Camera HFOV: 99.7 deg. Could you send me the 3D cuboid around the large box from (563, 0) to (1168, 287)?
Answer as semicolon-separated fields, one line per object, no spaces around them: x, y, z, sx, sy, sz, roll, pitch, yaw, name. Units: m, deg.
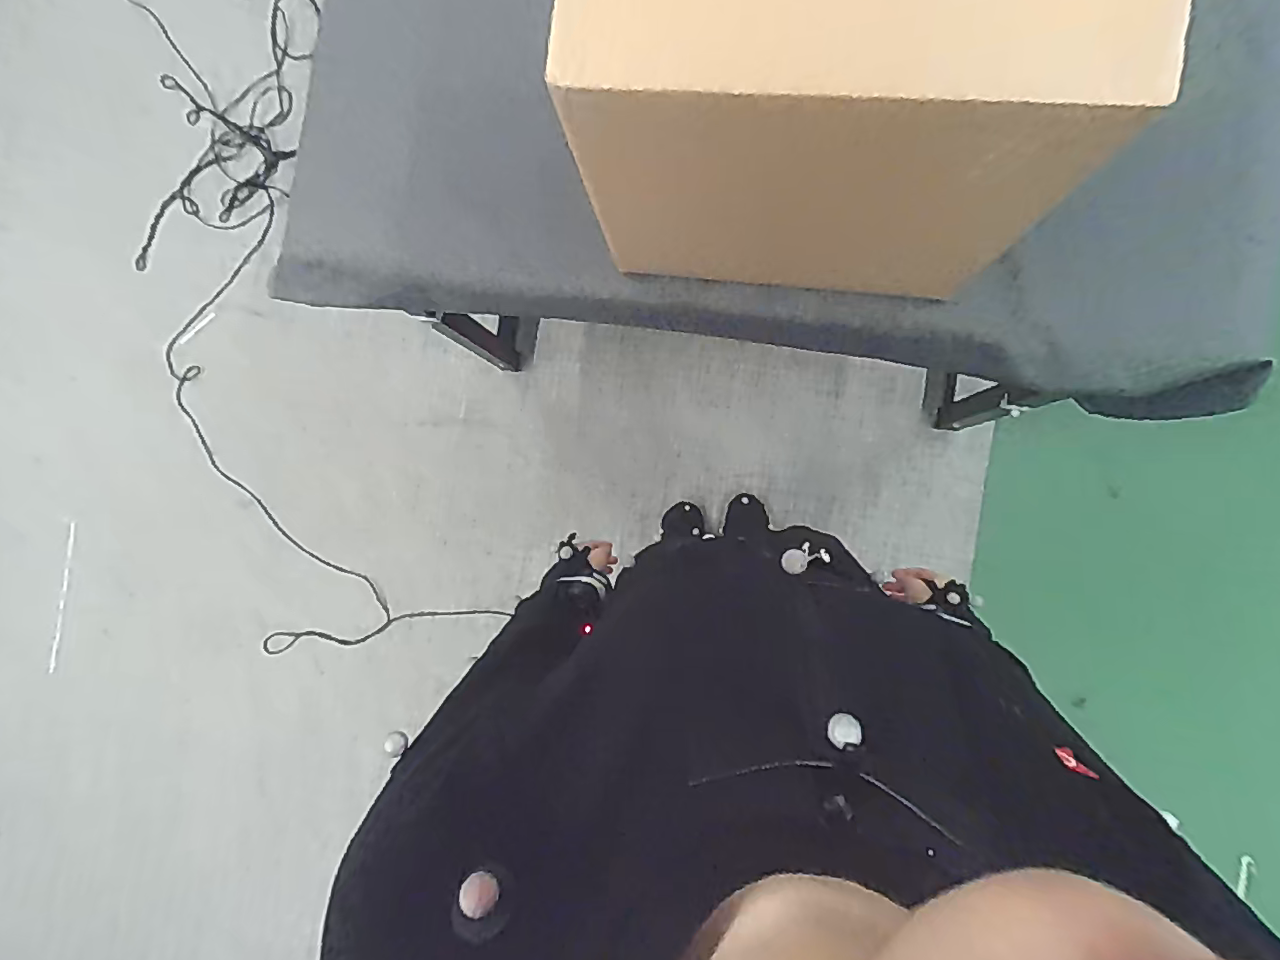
0.169;-0.405;0.522;0.408;0.320;0.320;7;88;7;large box
